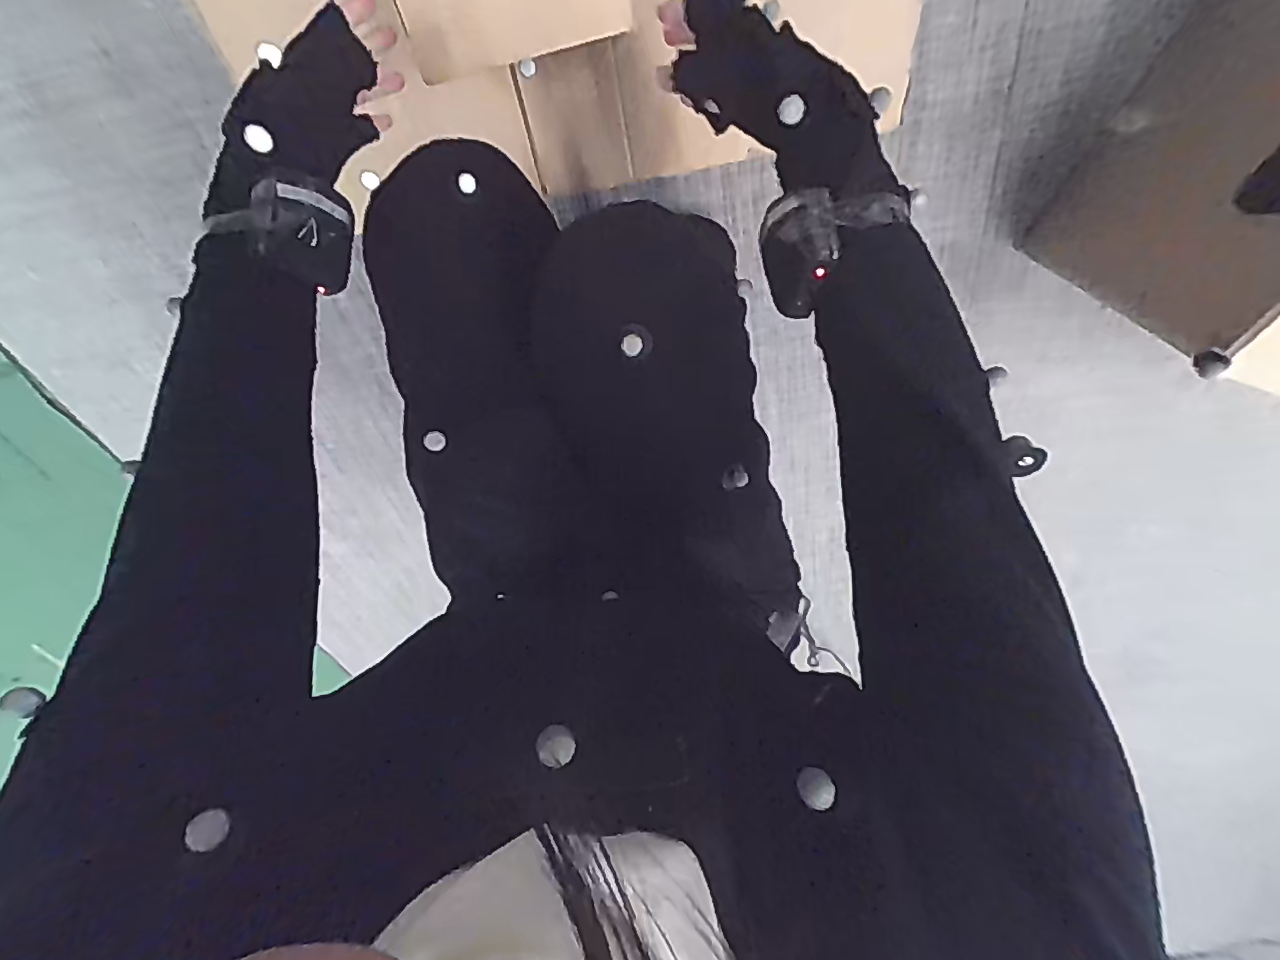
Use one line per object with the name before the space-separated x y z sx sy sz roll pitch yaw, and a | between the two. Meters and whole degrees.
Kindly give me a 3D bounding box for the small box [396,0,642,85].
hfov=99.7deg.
small box | -0.103 -0.446 0.442 0.179 0.176 0.168 -10 127 11
